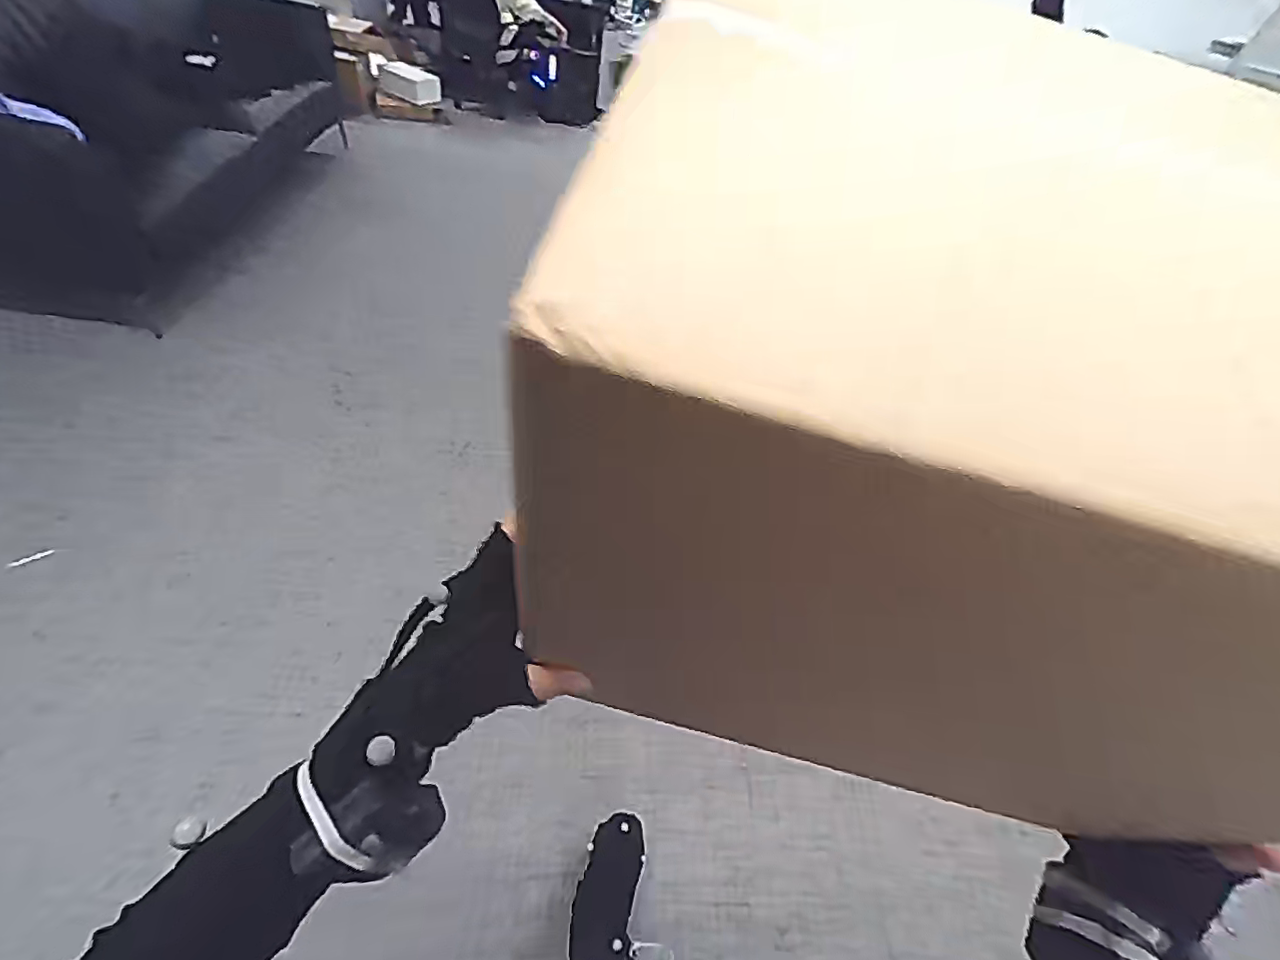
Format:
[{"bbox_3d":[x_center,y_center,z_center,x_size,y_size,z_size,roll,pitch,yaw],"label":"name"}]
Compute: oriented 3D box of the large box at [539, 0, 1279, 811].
[{"bbox_3d":[0.178,-0.019,0.329,0.408,0.320,0.320,16,57,-3],"label":"large box"}]
